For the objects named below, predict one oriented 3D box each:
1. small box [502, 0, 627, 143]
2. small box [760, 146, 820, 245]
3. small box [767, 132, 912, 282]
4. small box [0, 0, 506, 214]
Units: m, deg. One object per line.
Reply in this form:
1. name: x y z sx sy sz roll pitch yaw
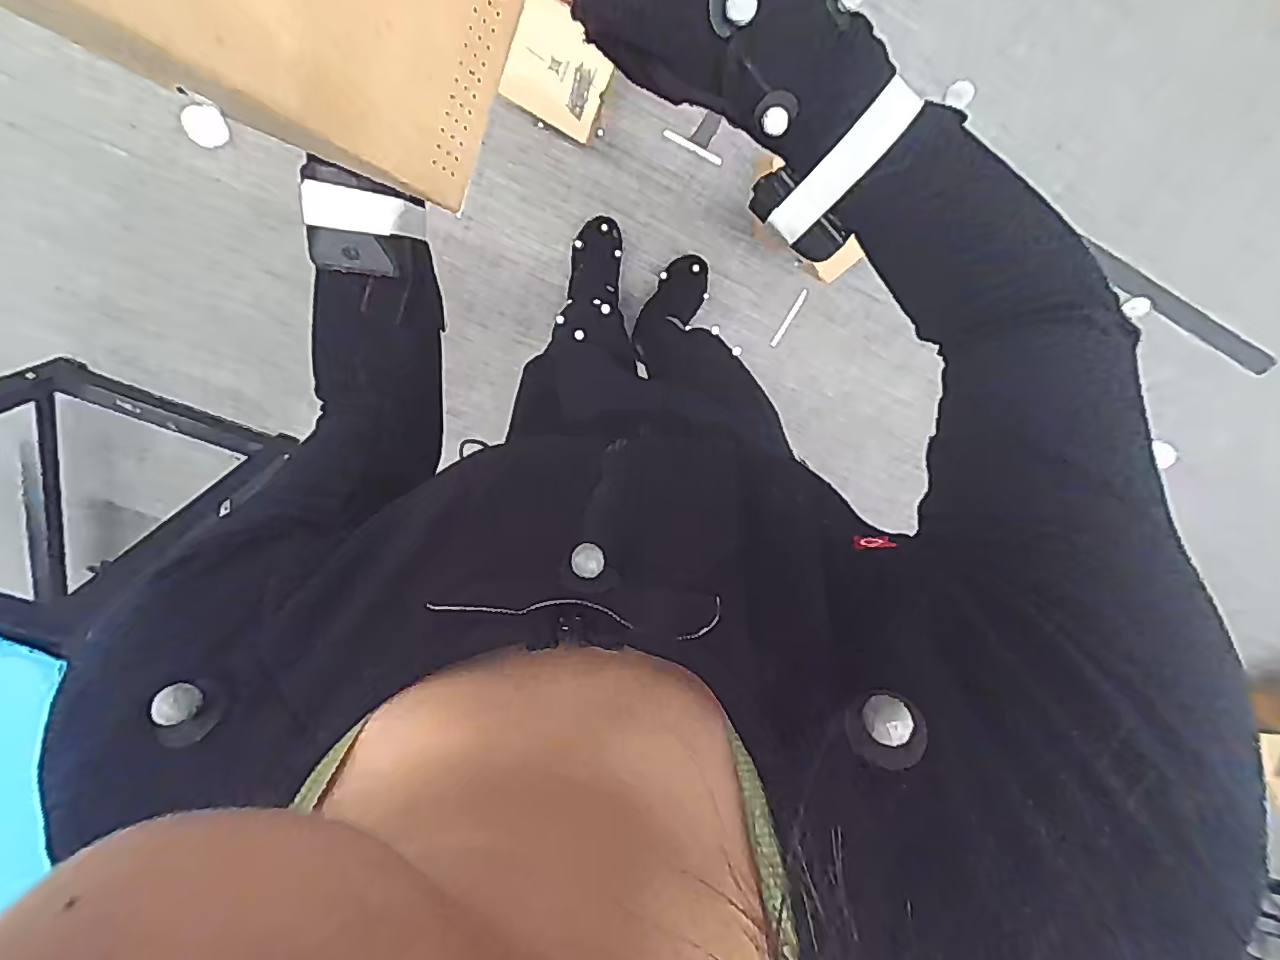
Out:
1. small box: -0.135 -0.767 1.021 0.179 0.176 0.168 24 117 -13
2. small box: 0.351 -0.597 1.128 0.179 0.176 0.168 -7 121 3
3. small box: 0.351 -0.500 0.993 0.179 0.176 0.168 -38 116 19
4. small box: -0.153 -0.221 0.172 0.168 0.176 0.179 30 109 11
